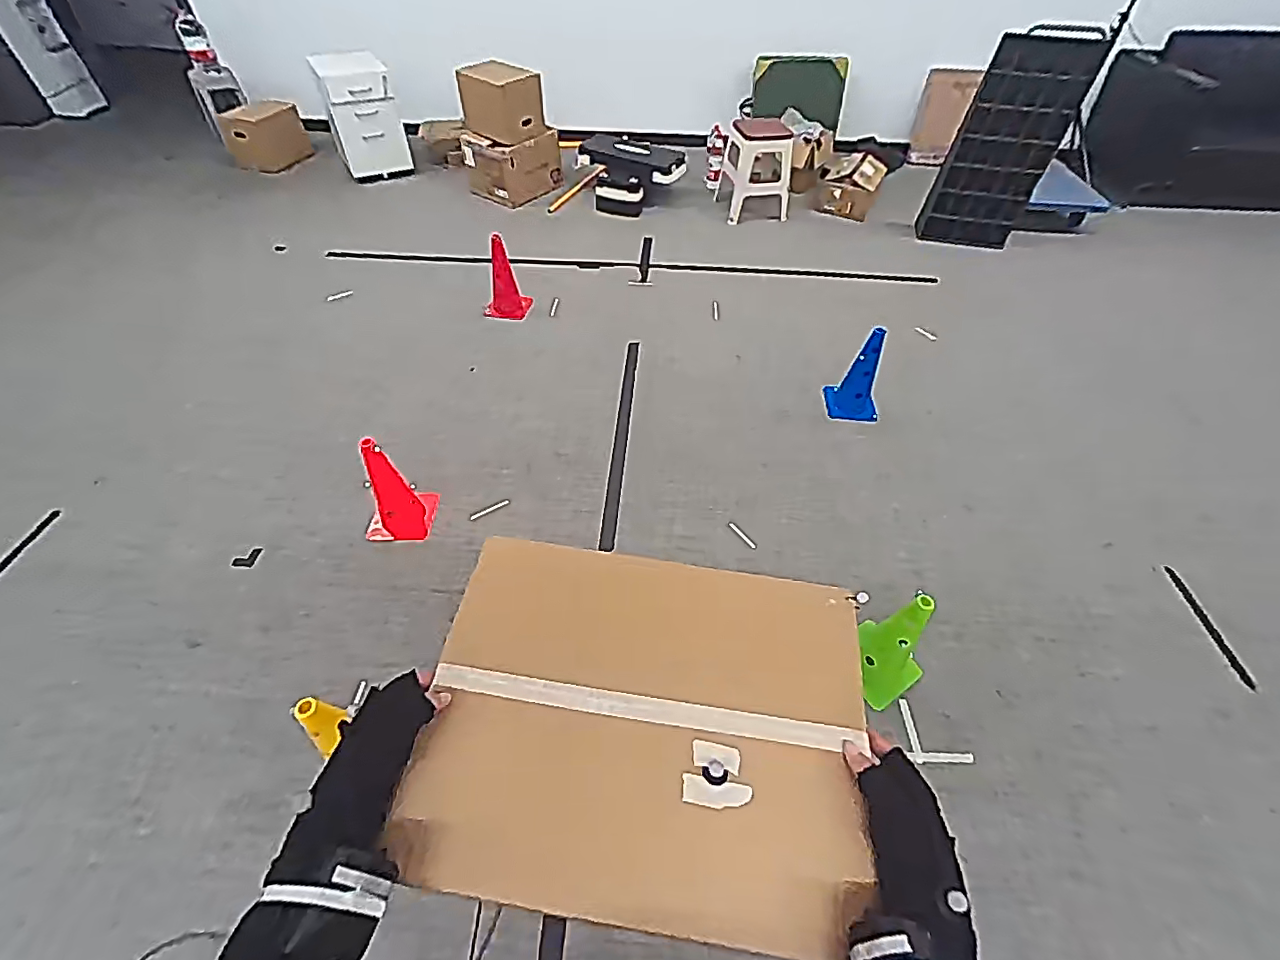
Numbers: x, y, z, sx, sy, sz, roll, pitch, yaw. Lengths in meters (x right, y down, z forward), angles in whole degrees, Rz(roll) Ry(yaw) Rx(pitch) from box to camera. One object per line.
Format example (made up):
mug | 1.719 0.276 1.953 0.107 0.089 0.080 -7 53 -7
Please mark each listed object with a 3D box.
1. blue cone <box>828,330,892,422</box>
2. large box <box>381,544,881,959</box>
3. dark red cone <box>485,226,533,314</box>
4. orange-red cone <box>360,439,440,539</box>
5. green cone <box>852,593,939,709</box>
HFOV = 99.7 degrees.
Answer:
blue cone | 0.893 -0.422 2.132 0.192 0.380 0.193 7 49 3
large box | 0.001 0.307 0.625 0.408 0.320 0.320 9 53 4
dark red cone | -0.632 -0.982 2.523 0.201 0.394 0.202 9 50 4
orange-red cone | -0.788 0.008 1.693 0.198 0.360 0.199 1 50 1
green cone | 0.667 0.402 1.390 0.202 0.368 0.200 -25 55 -23
